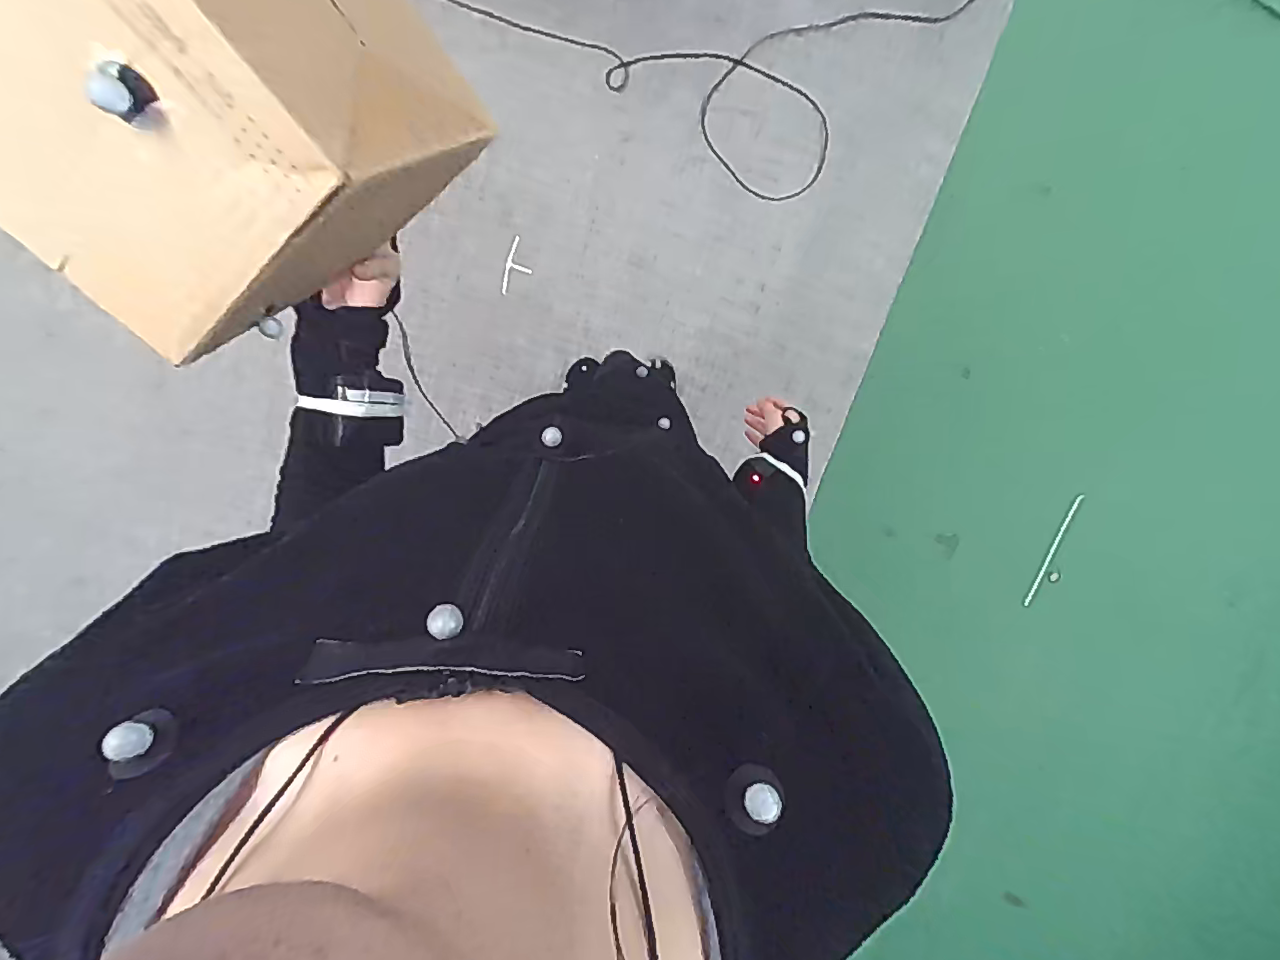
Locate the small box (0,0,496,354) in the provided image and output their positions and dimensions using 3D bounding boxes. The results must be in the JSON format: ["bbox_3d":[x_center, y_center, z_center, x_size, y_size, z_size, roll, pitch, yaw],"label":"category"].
[{"bbox_3d":[-0.207,-0.204,0.284,0.176,0.179,0.168,-25,119,27],"label":"small box"}]
